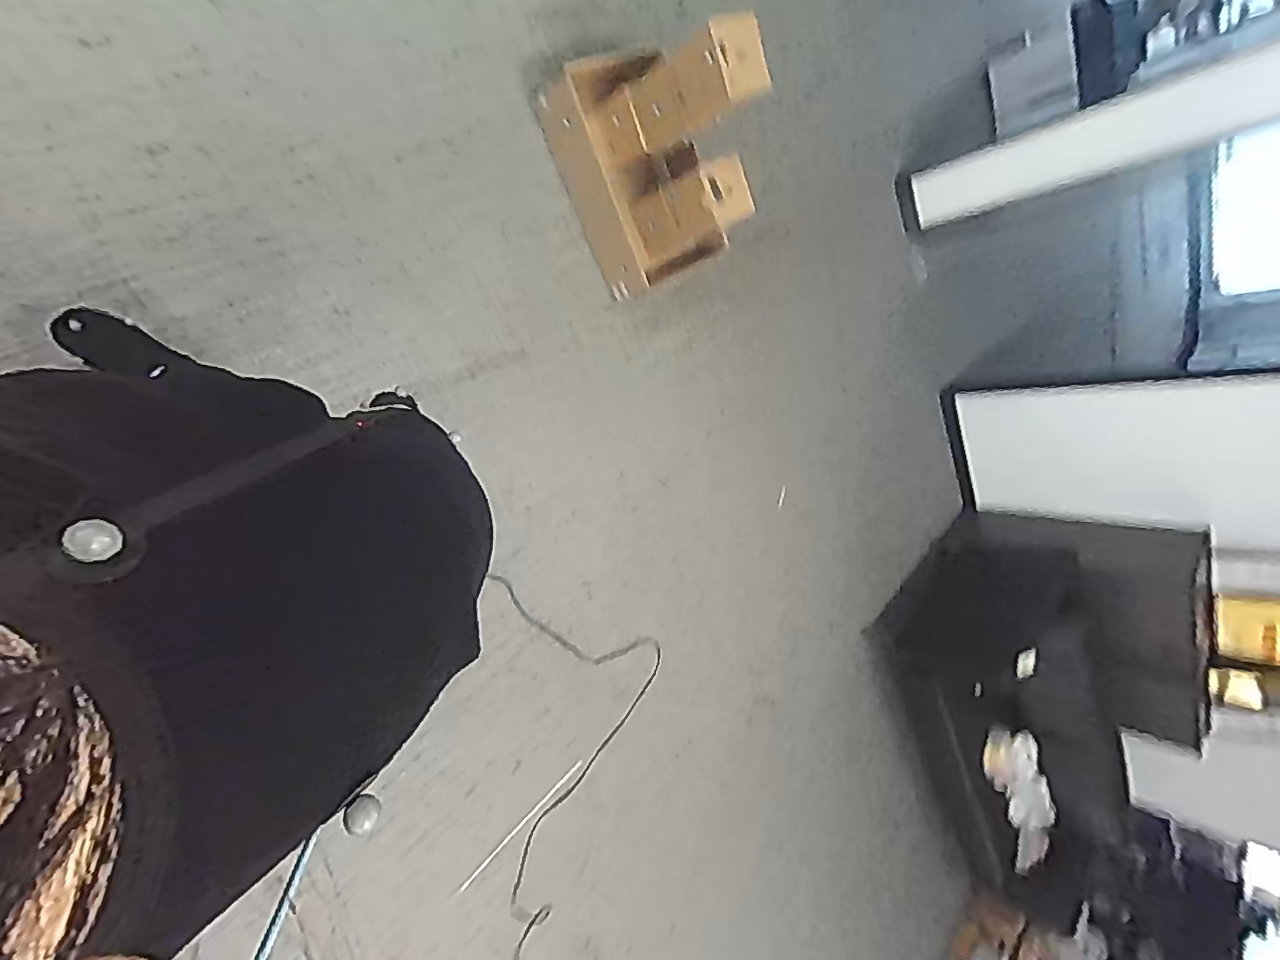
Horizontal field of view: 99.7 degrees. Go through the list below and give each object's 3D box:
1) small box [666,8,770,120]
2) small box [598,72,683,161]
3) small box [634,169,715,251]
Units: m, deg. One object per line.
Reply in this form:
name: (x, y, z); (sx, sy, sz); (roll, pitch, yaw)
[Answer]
small box: (0.197, -1.055, 1.378); (0.179, 0.176, 0.168); (-36, 114, -29)
small box: (-0.005, -1.092, 1.635); (0.179, 0.176, 0.168); (-34, 114, -29)
small box: (0.103, -0.861, 1.737); (0.179, 0.176, 0.168); (-37, 115, -27)
